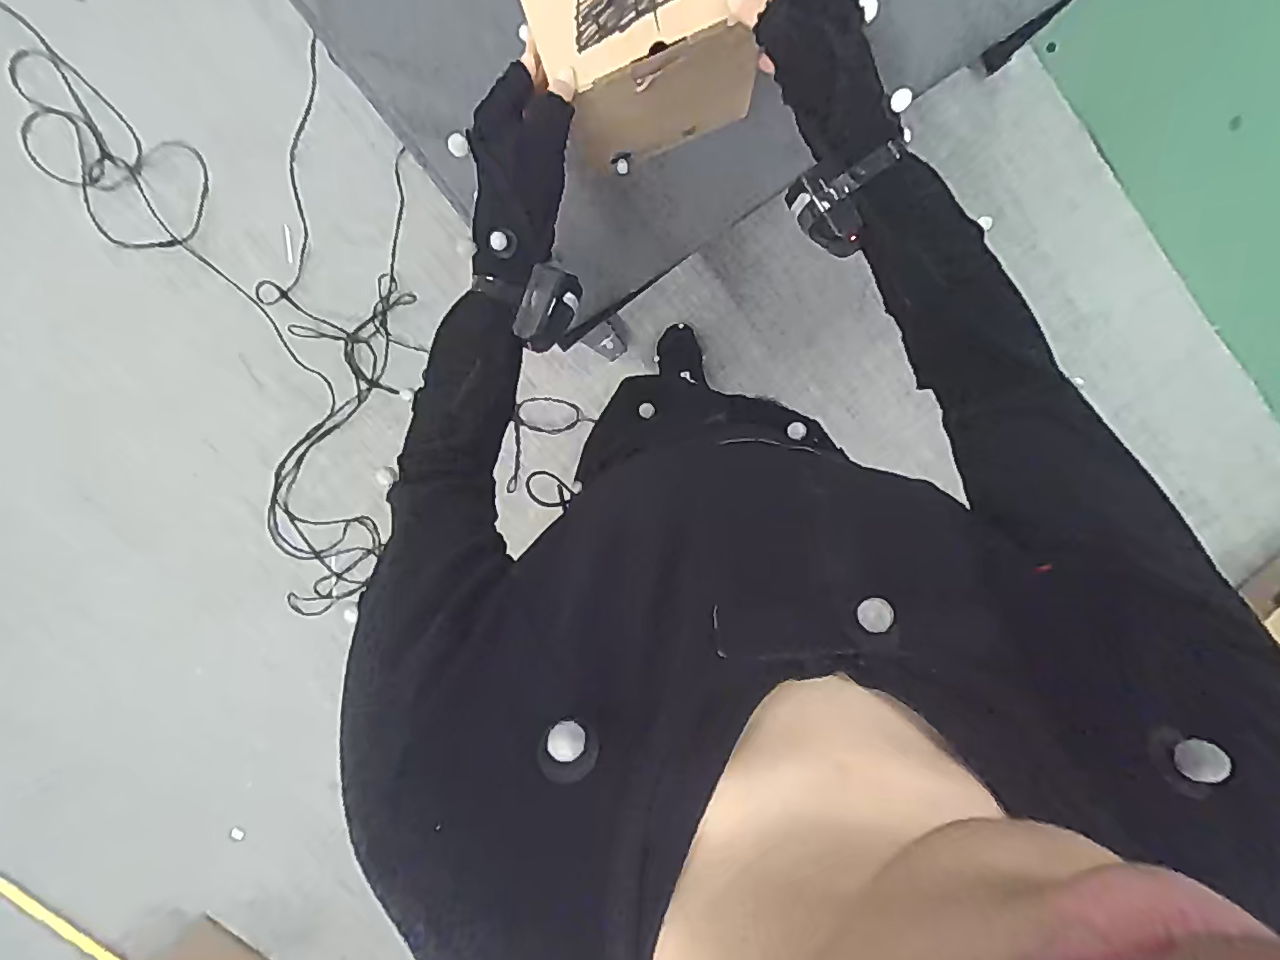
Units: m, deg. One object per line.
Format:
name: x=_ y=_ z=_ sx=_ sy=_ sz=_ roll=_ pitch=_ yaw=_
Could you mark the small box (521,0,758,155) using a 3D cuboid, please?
small box: x=-0.008 y=-0.409 z=0.456 sx=0.168 sy=0.176 sz=0.179 roll=-19 pitch=98 yaw=9
